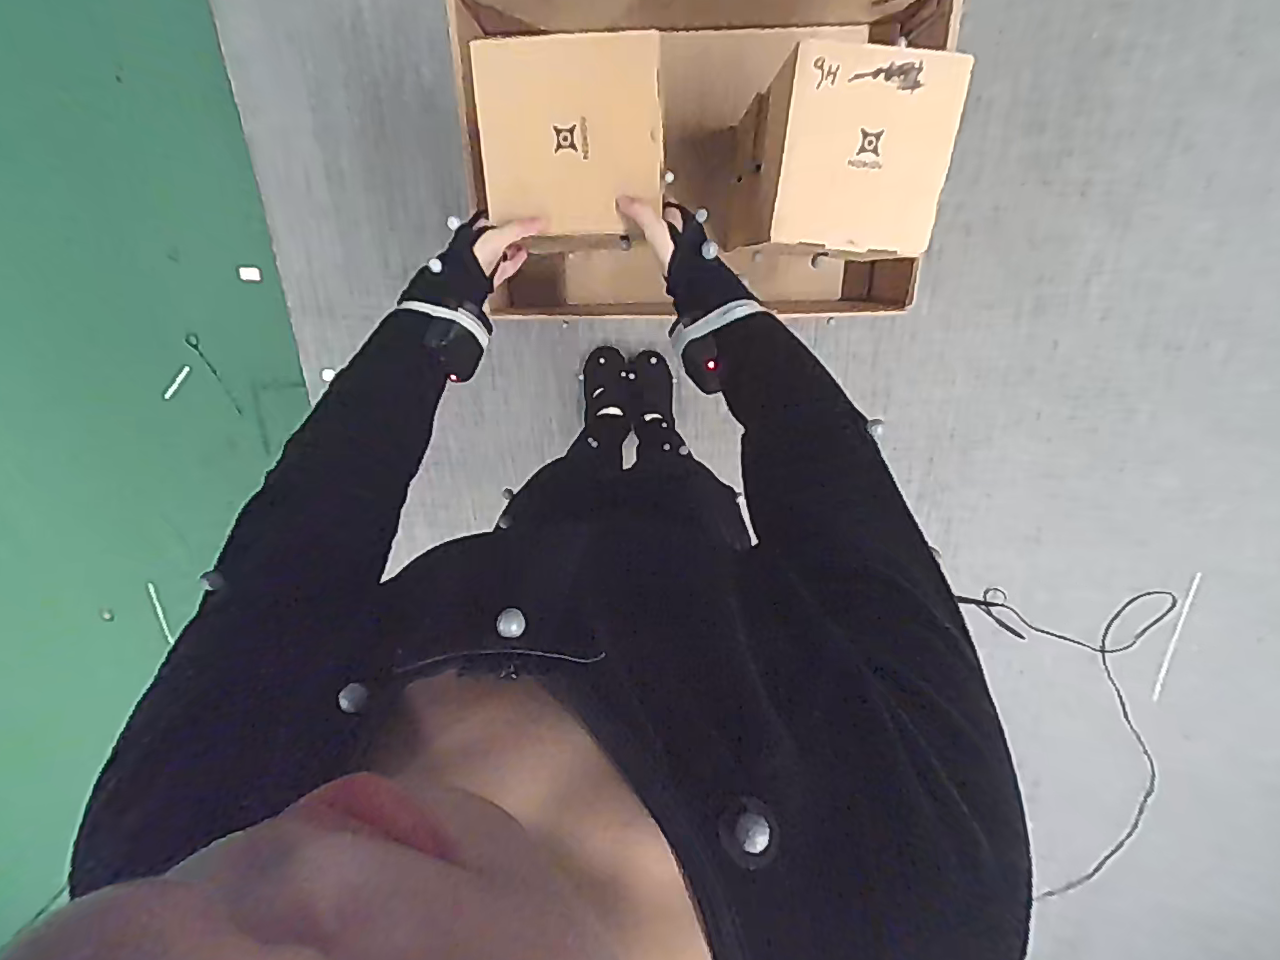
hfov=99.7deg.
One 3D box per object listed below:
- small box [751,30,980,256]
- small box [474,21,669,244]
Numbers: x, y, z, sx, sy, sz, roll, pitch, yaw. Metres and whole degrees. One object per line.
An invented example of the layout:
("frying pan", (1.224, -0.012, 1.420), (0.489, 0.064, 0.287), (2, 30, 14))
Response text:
("small box", (0.225, -0.352, 0.599), (0.168, 0.176, 0.179), (7, 113, 0))
("small box", (-0.058, -0.354, 0.586), (0.179, 0.176, 0.168), (-1, 109, 4))
